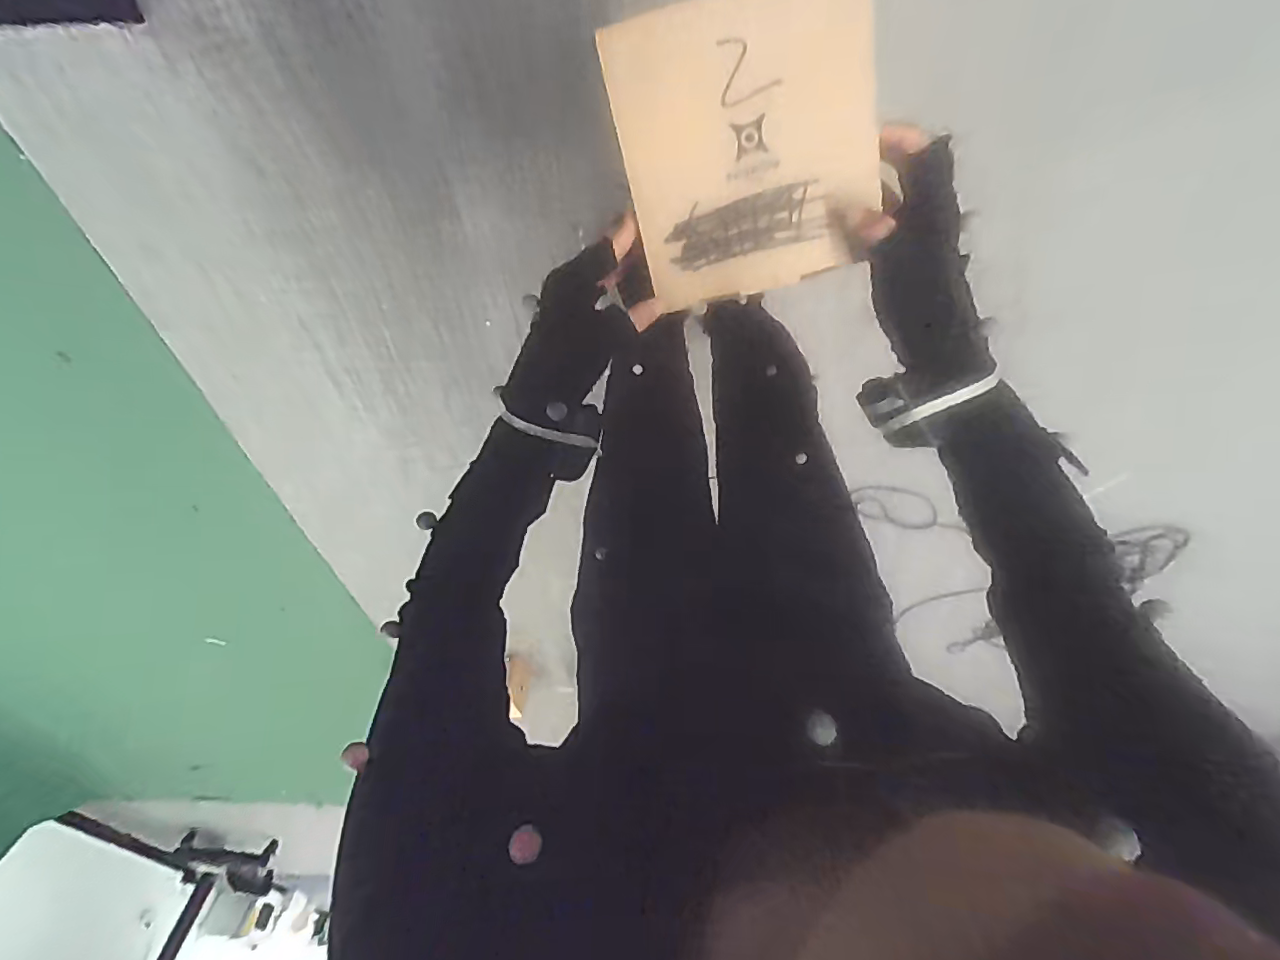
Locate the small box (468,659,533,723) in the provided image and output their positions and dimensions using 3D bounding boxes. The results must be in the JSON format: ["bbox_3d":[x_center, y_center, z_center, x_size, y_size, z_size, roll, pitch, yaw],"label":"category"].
[{"bbox_3d":[-0.516,0.781,2.017,0.168,0.176,0.179,-6,130,10],"label":"small box"}]
